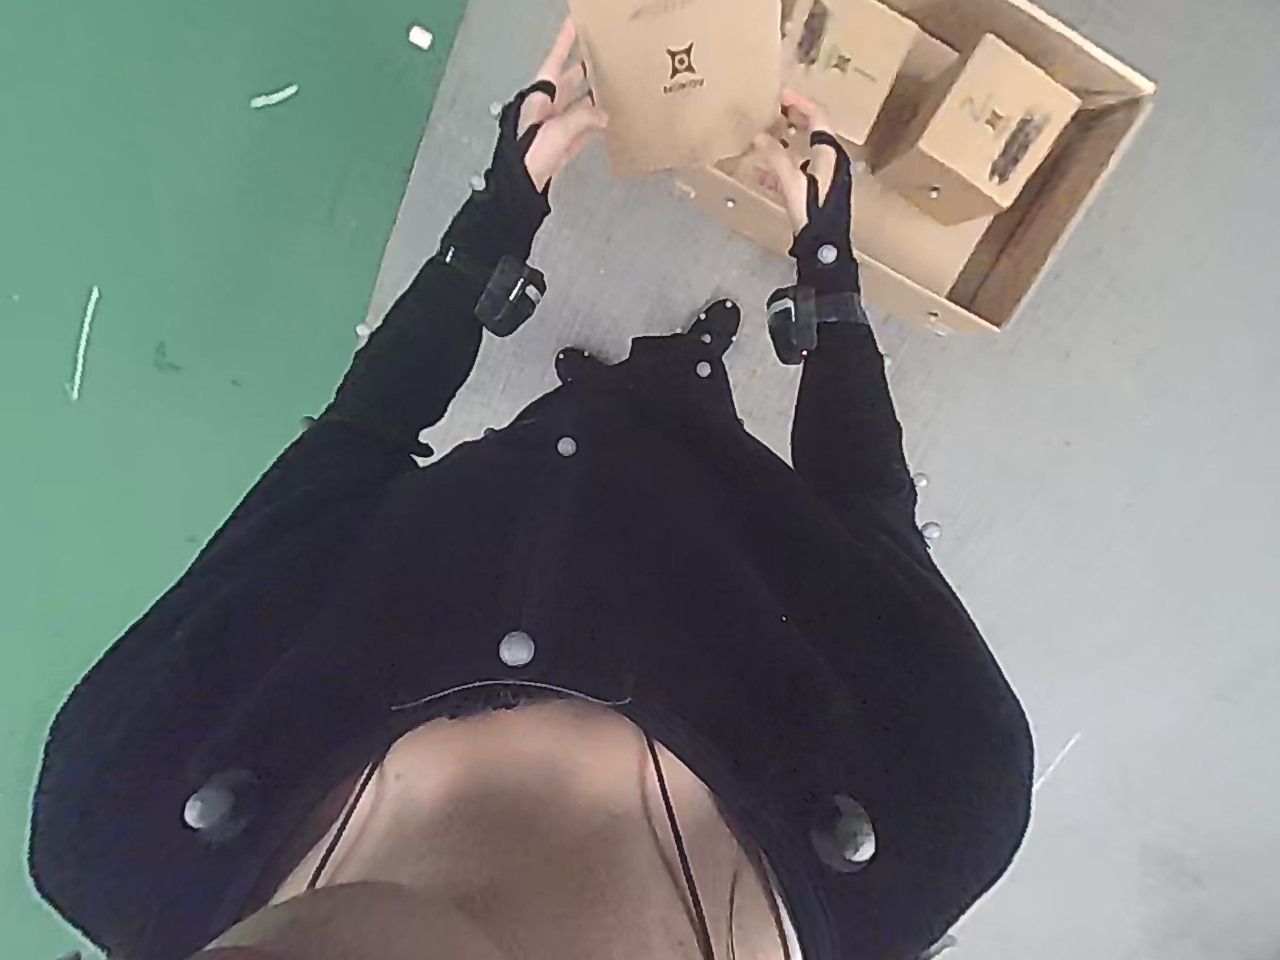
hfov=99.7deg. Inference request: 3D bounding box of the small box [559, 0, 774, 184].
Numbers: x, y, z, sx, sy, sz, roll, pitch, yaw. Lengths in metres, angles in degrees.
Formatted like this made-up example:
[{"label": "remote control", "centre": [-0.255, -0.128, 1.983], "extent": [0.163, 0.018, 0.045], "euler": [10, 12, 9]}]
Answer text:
[{"label": "small box", "centre": [0.034, -0.414, 0.496], "extent": [0.168, 0.176, 0.179], "euler": [-4, 150, 12]}]
